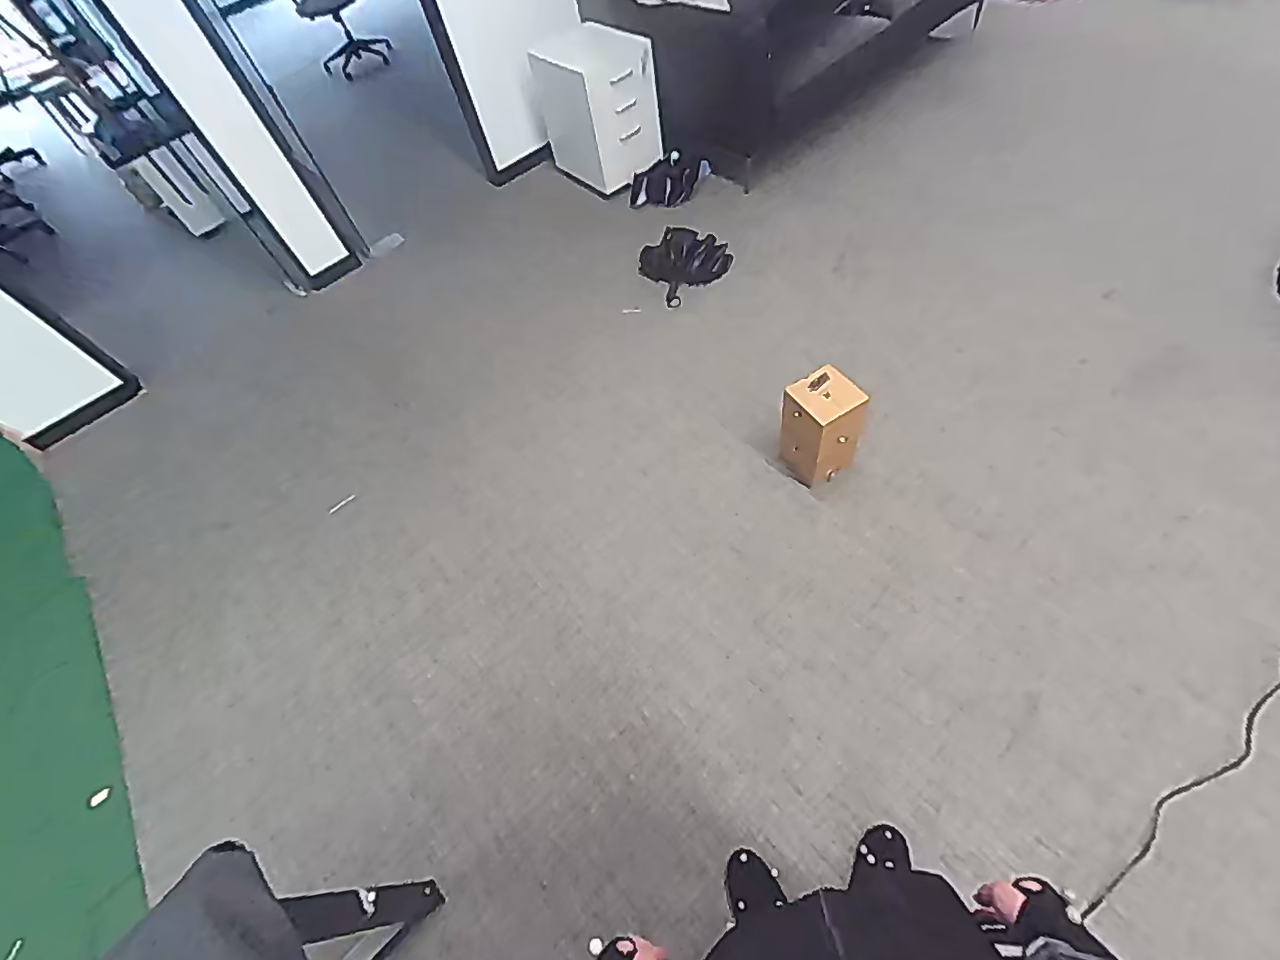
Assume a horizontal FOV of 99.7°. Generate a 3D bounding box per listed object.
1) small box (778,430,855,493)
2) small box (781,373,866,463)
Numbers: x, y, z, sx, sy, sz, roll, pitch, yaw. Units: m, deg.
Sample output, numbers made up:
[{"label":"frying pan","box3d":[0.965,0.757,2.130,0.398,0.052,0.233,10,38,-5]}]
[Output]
[{"label":"small box","box3d":[0.567,-0.092,1.767,0.168,0.176,0.179,-30,58,-9]},{"label":"small box","box3d":[0.544,-0.183,1.632,0.168,0.176,0.179,-29,57,-9]}]
